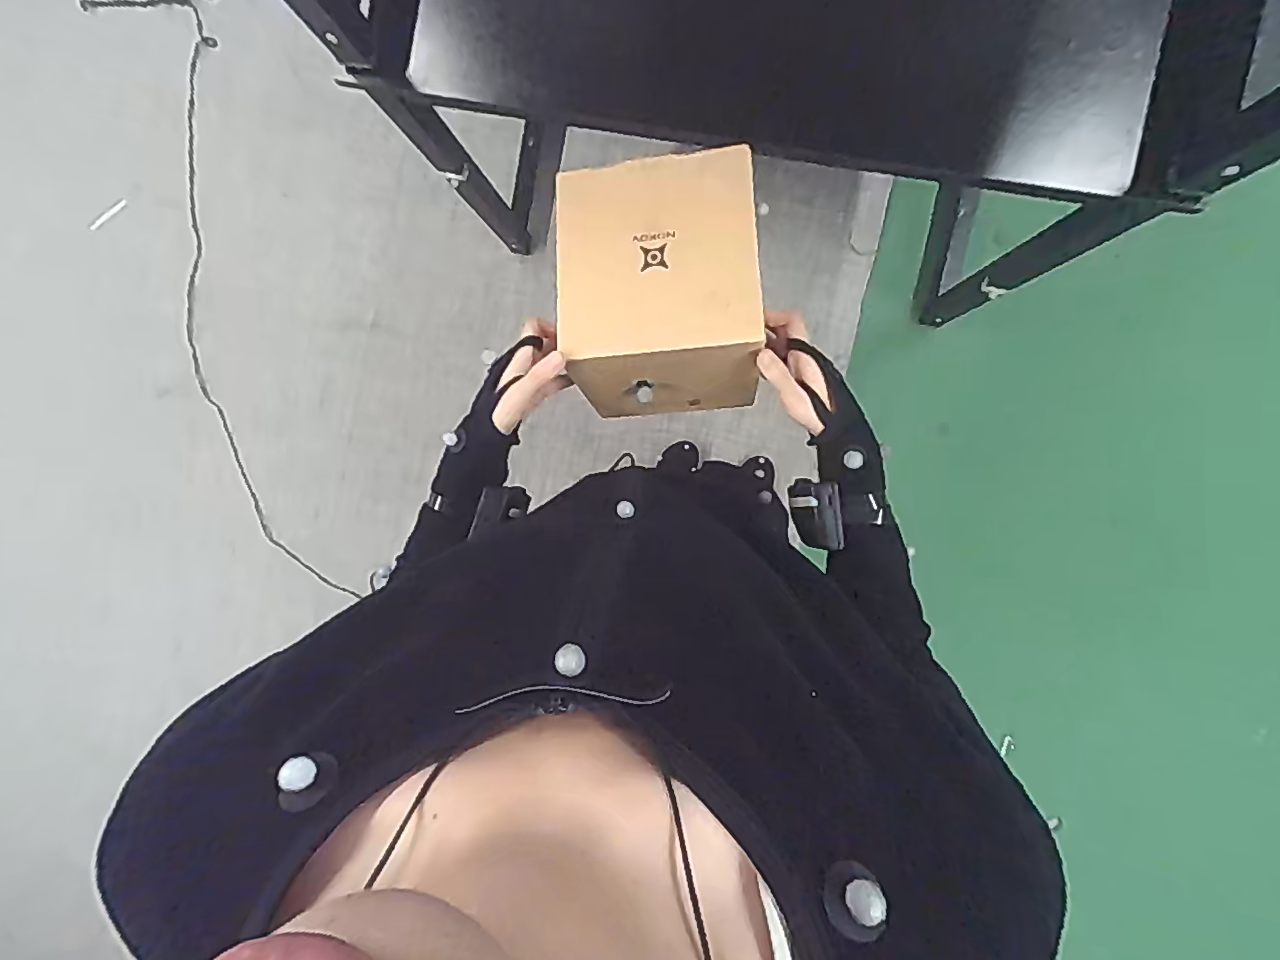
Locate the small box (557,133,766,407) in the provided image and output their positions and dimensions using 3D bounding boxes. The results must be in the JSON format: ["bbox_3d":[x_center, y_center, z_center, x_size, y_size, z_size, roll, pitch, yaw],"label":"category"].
[{"bbox_3d":[0.026,-0.174,0.506,0.168,0.176,0.179,-4,79,8],"label":"small box"}]
